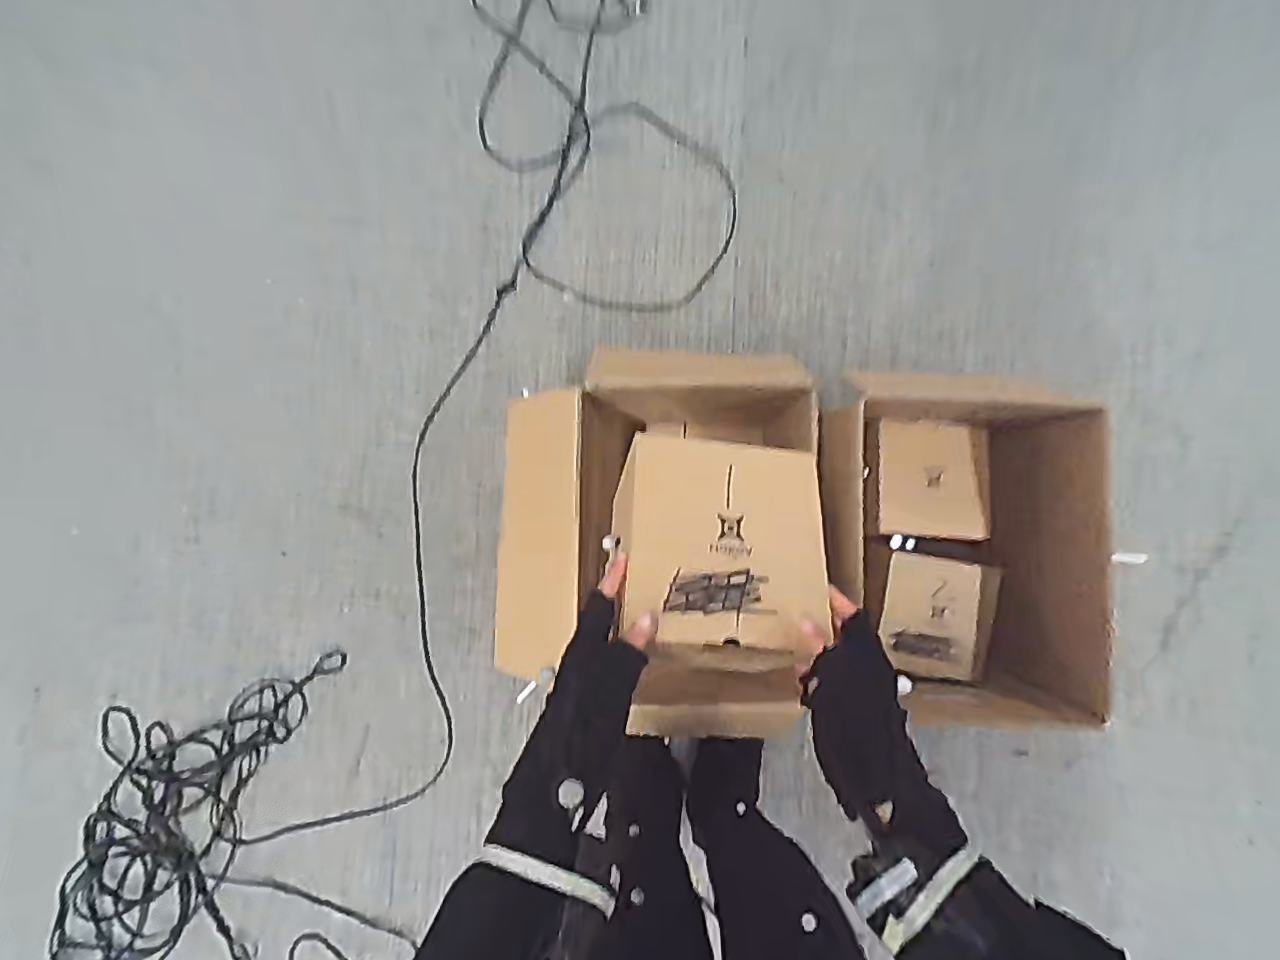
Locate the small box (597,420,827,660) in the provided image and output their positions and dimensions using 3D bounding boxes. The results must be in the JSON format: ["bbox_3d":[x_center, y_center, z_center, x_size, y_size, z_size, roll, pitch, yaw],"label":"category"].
[{"bbox_3d":[0.053,0.068,0.498,0.168,0.176,0.179,6,67,-7],"label":"small box"}]
